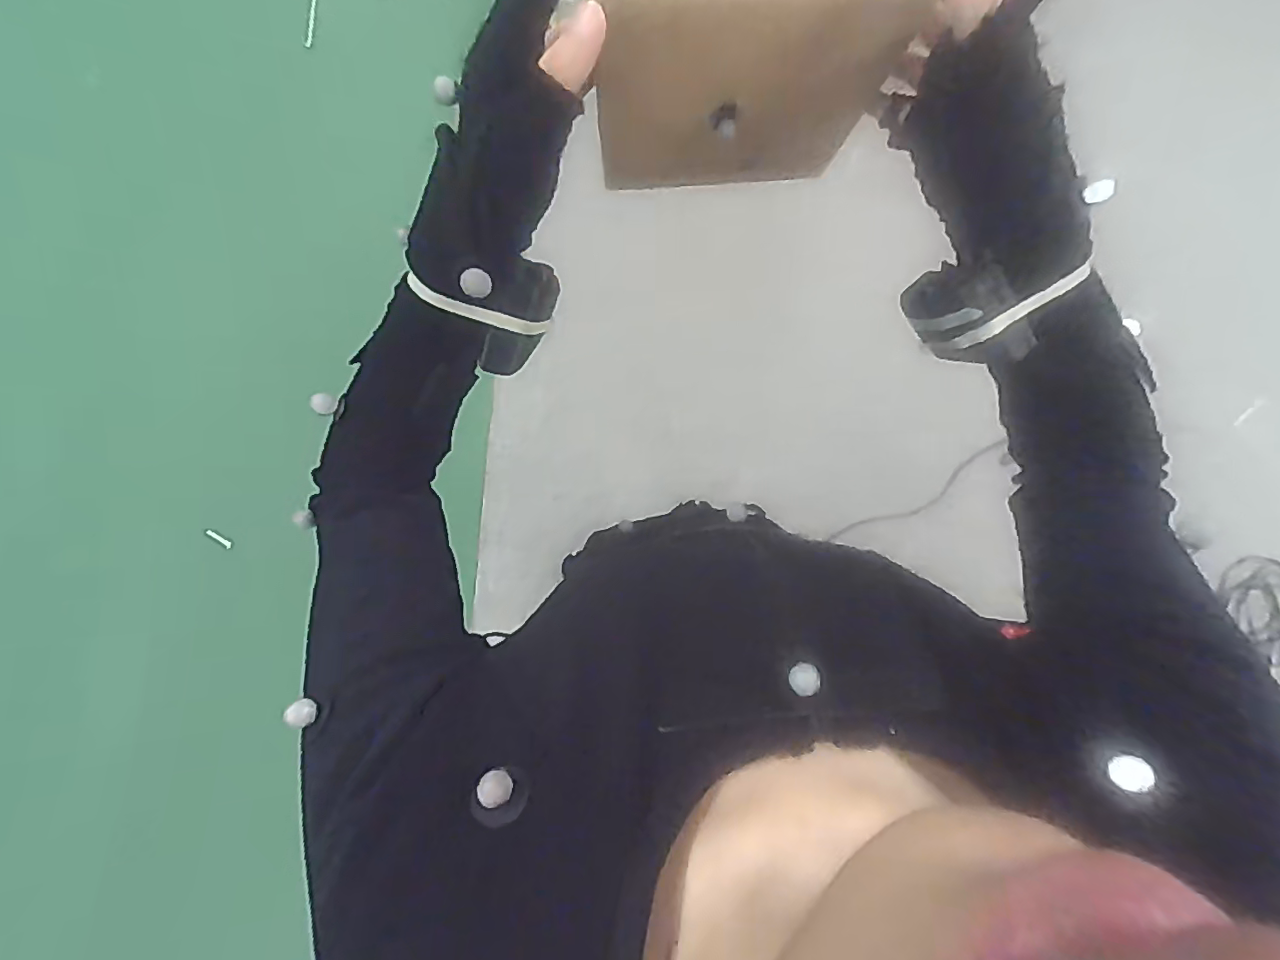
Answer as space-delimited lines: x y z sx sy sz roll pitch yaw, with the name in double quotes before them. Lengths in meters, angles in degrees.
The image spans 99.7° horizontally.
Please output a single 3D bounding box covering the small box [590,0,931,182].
"small box" 0.053 -0.305 0.327 0.168 0.176 0.179 -4 90 -2
